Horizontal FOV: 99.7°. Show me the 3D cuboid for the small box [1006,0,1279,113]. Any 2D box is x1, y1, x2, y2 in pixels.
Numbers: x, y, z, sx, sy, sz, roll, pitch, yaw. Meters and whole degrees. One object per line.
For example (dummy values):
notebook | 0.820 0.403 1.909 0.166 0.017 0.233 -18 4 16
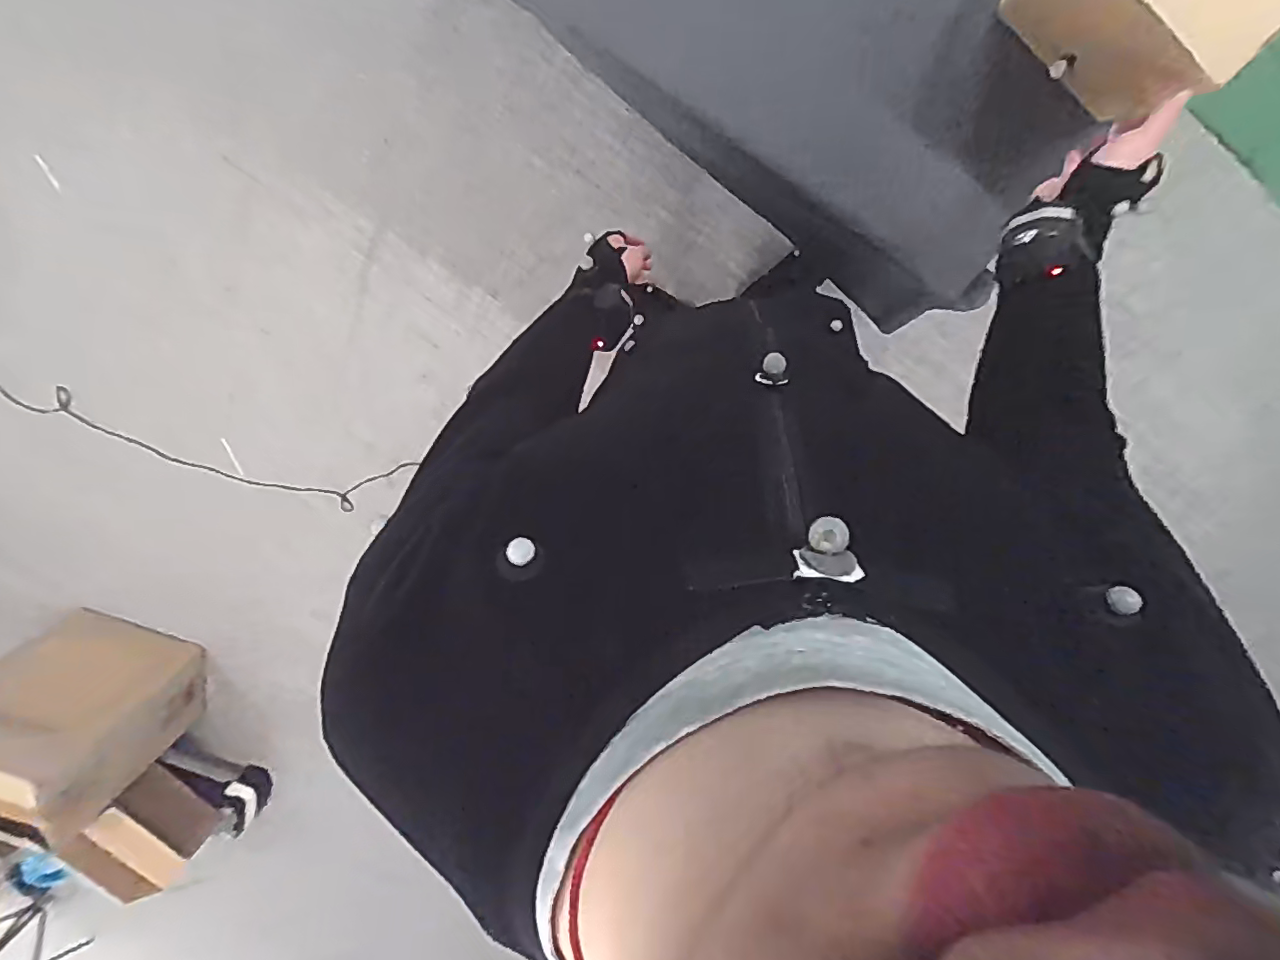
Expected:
small box | 0.490 -0.469 0.488 0.179 0.176 0.168 37 115 -11
